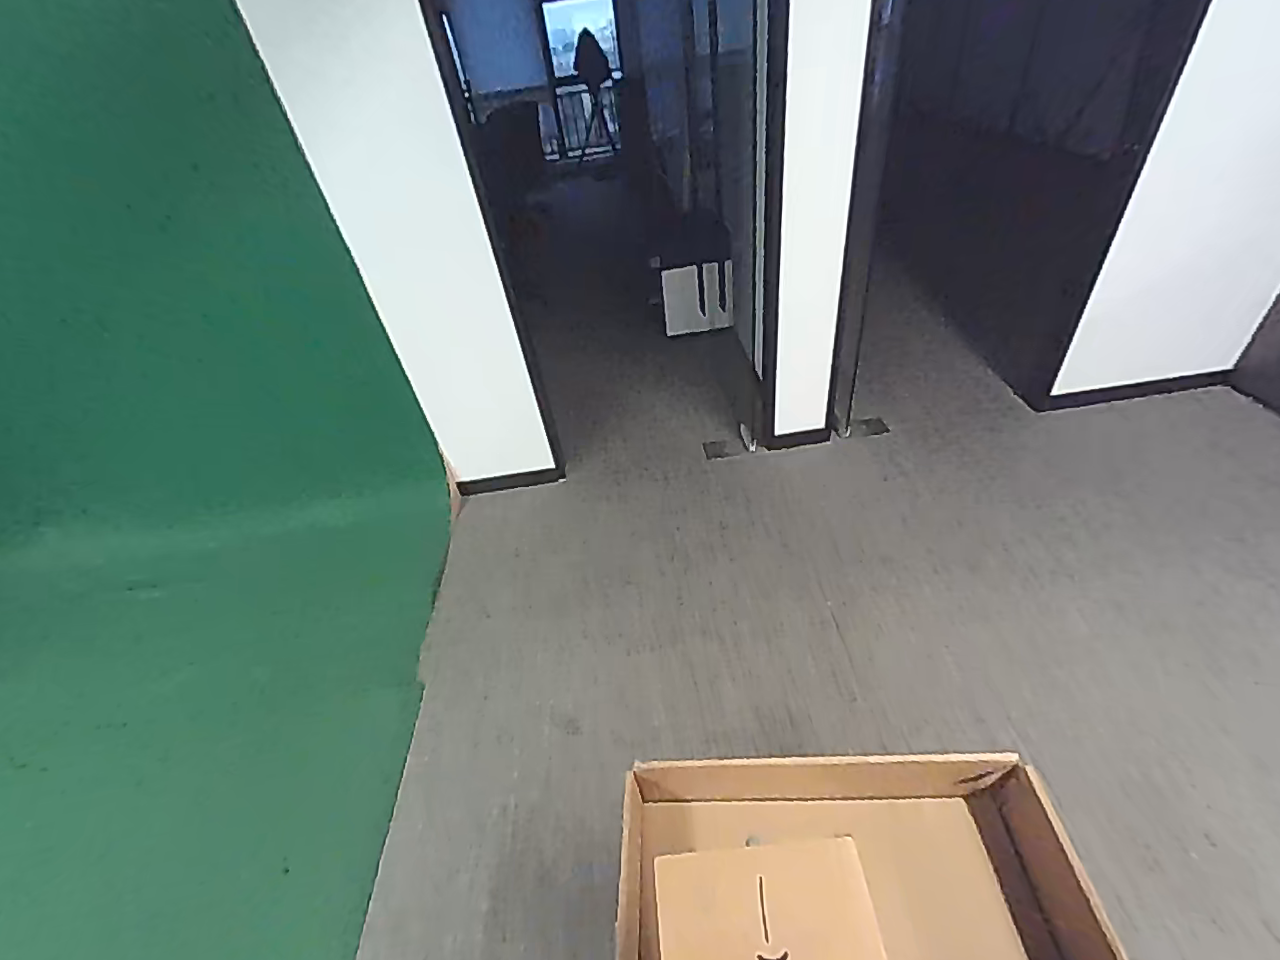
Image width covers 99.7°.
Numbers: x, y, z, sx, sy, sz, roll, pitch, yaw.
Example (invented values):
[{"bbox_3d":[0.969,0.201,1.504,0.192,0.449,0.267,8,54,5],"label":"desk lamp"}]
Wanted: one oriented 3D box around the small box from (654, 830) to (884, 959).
[{"bbox_3d":[0.108,0.412,0.452,0.168,0.176,0.179,-8,50,3],"label":"small box"}]
